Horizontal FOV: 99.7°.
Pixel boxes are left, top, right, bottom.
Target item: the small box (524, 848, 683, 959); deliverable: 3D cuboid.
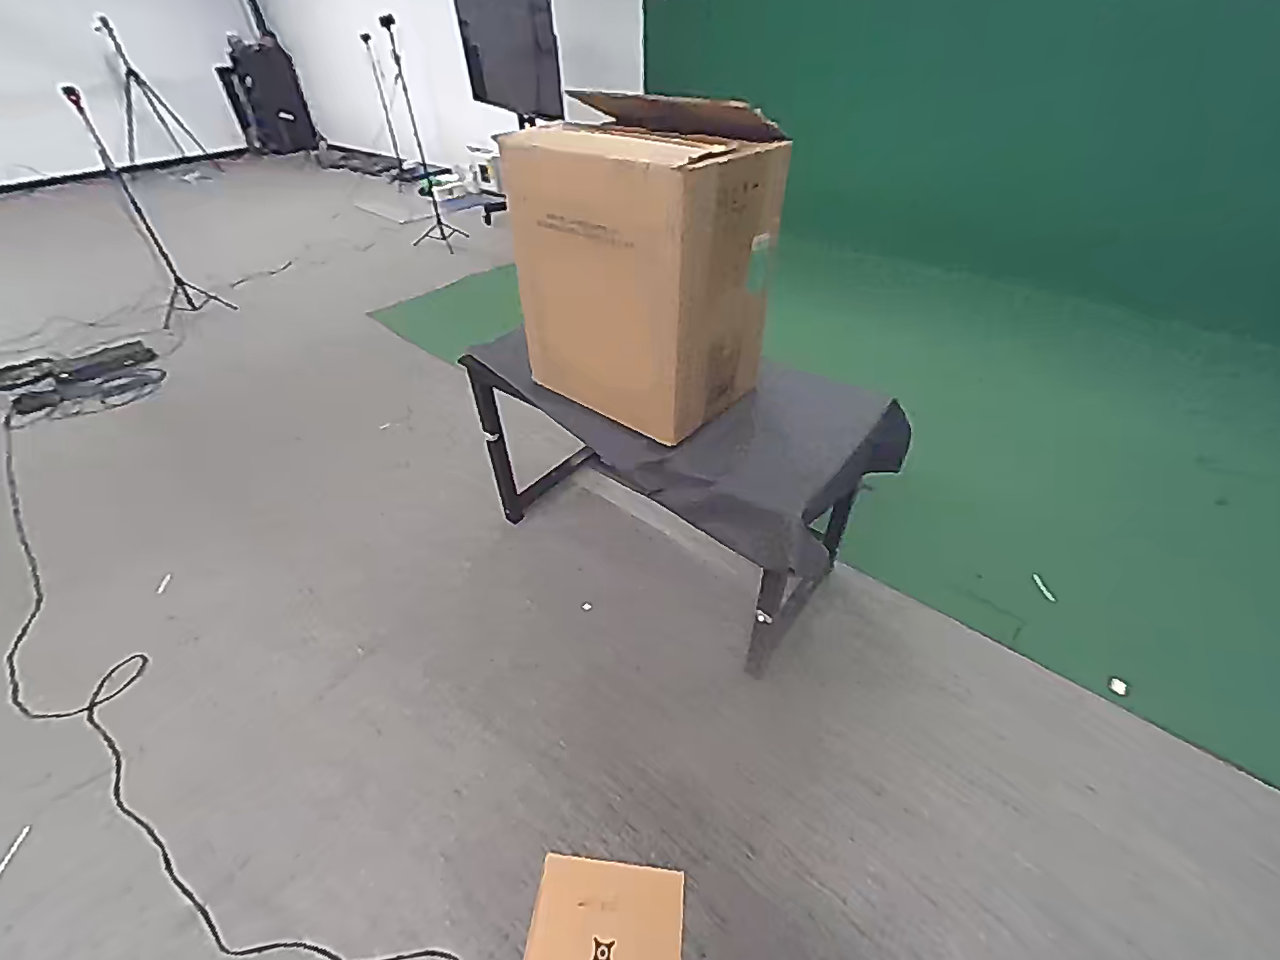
[{"bbox_3d":[-0.041,0.560,0.615,0.168,0.176,0.179,5,34,2],"label":"small box"}]
